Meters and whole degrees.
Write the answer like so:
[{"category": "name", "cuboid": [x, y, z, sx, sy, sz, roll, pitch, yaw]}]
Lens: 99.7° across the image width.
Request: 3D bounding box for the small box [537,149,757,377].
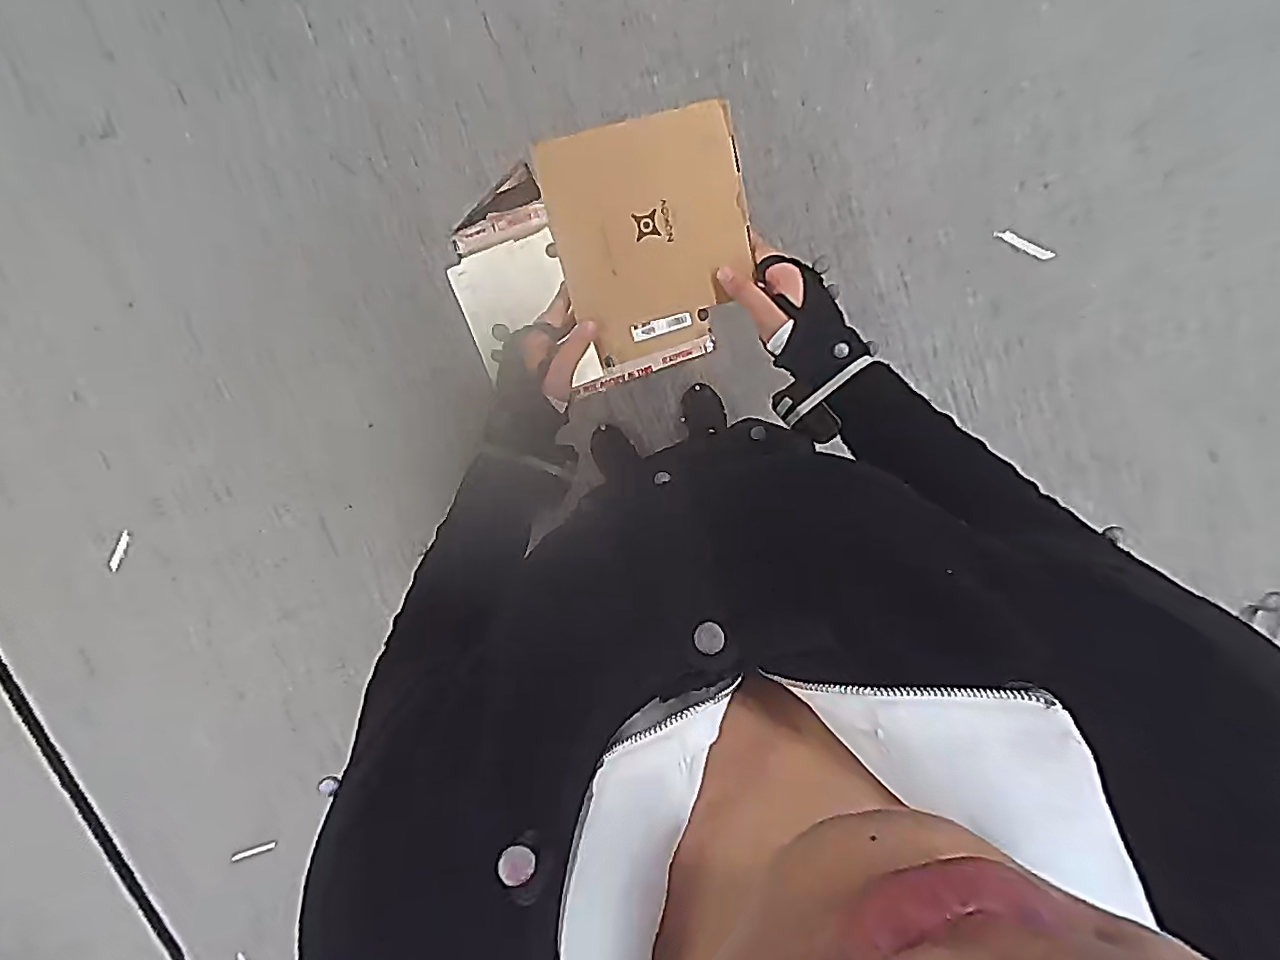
[{"category": "small box", "cuboid": [0.004, -0.218, 0.570, 0.179, 0.176, 0.168, -15, 108, 1]}]
